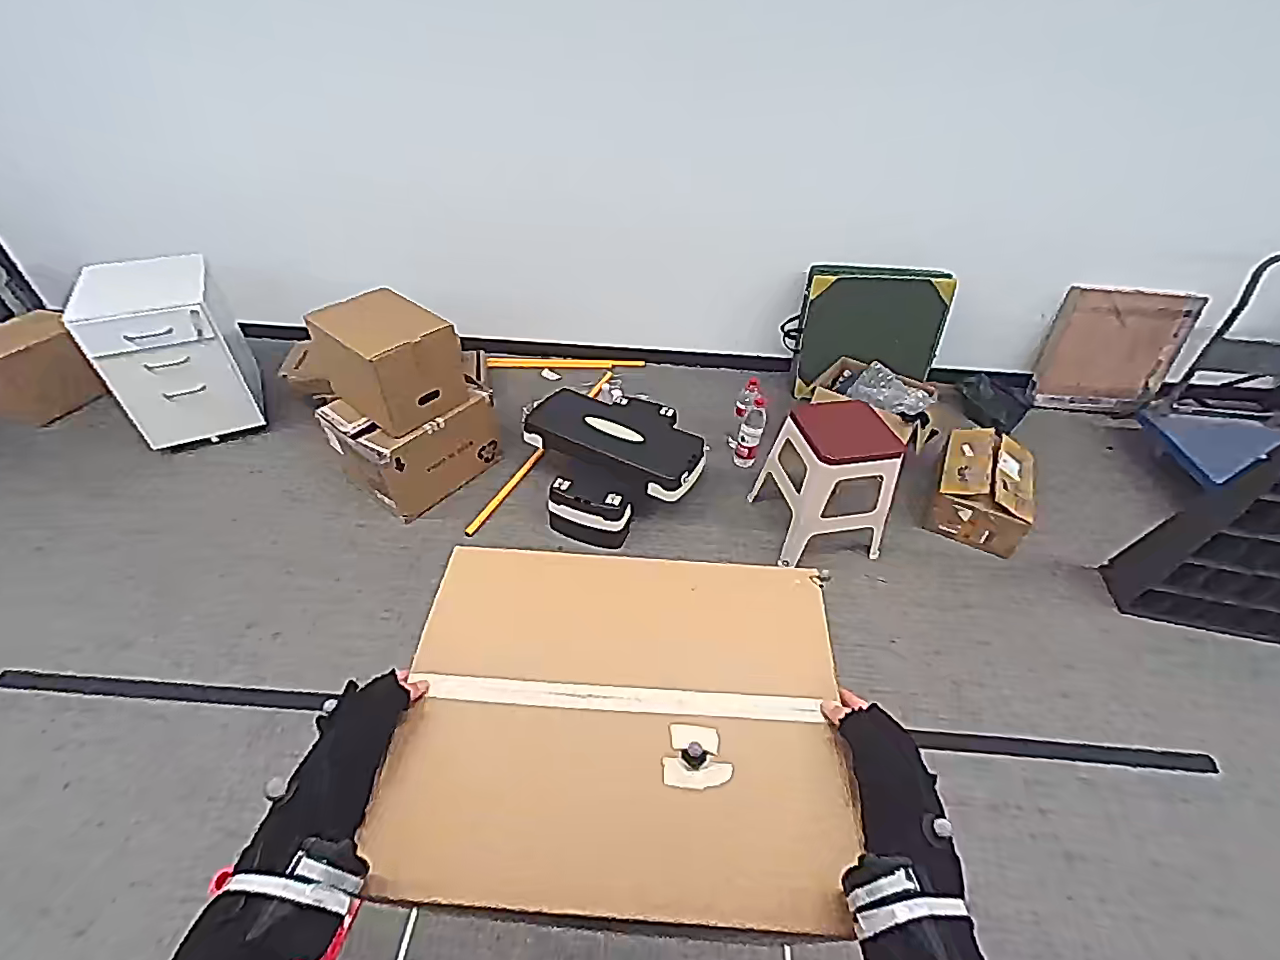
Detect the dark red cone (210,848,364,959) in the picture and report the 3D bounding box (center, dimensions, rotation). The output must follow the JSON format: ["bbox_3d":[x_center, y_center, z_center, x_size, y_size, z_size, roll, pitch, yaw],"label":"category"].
[{"bbox_3d":[-0.697,0.774,1.013,0.201,0.394,0.202,9,43,5],"label":"dark red cone"}]

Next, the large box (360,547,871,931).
[{"bbox_3d":[-0.018,0.300,0.621,0.408,0.320,0.320,4,49,1],"label":"large box"}]
